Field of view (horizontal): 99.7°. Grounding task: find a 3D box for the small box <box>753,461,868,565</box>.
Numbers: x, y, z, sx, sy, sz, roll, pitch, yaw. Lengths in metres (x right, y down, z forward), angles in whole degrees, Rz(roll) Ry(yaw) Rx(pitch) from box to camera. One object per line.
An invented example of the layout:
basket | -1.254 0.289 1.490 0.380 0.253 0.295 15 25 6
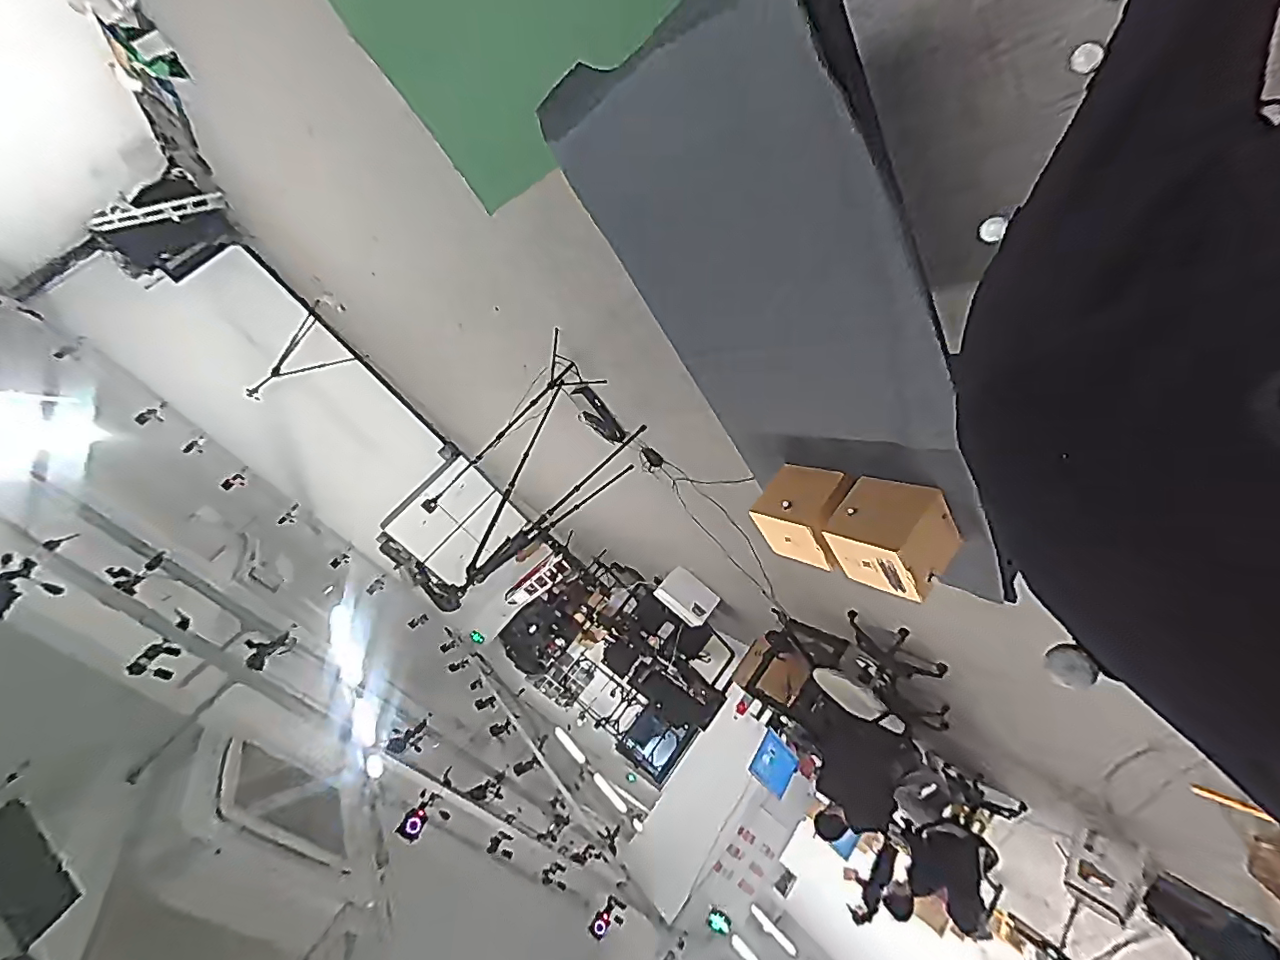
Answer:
small box | 0.412 0.072 1.303 0.179 0.176 0.168 14 148 53
